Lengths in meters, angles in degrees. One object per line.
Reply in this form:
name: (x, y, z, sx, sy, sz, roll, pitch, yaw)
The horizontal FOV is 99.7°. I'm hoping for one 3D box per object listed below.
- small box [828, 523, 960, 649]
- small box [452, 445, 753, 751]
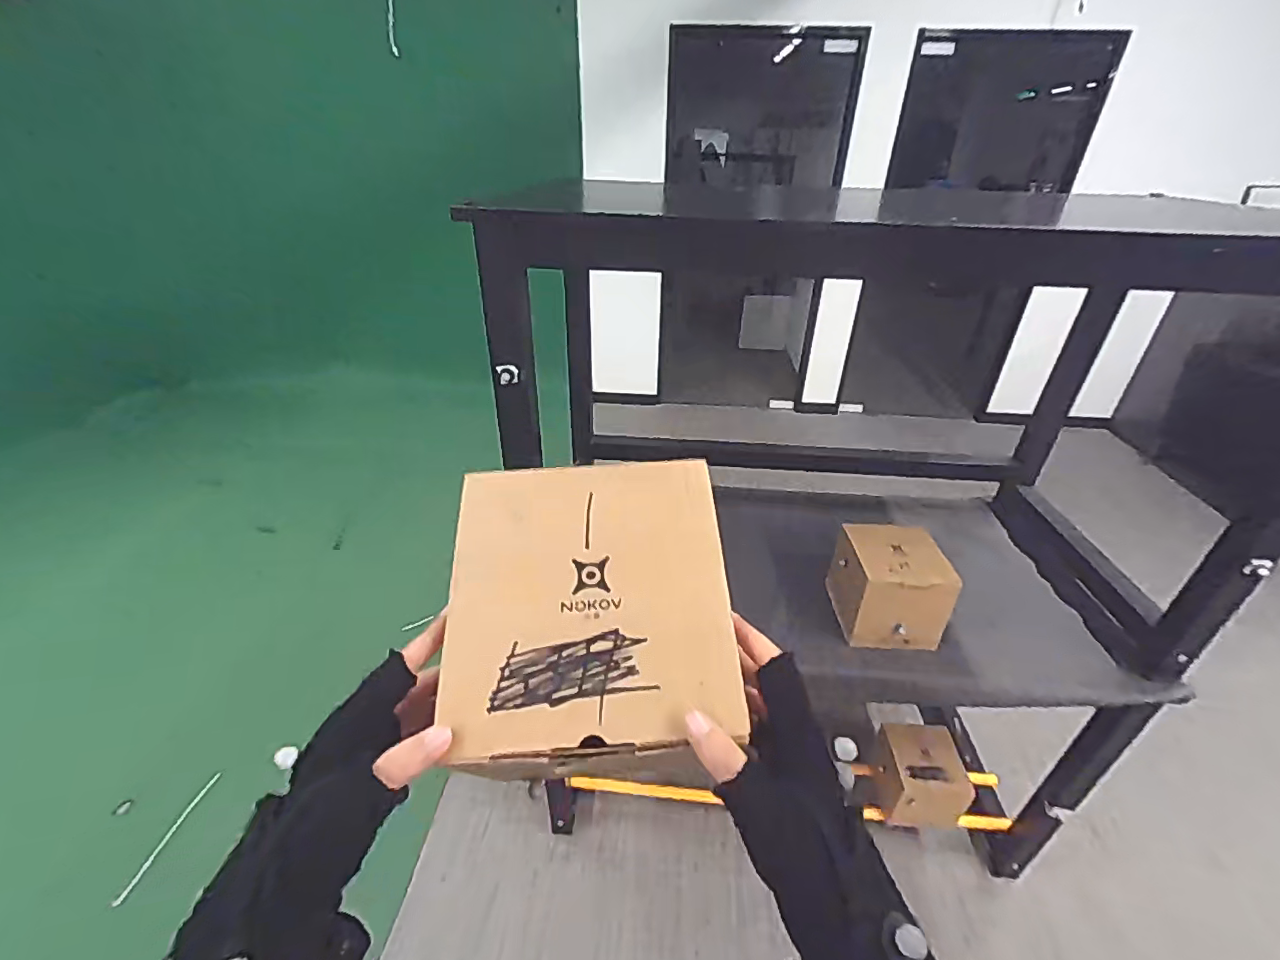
small box: (0.482, 0.204, 1.061, 0.168, 0.176, 0.179, 2, 31, 2)
small box: (-0.023, 0.096, 0.398, 0.168, 0.176, 0.179, -3, 58, -2)
